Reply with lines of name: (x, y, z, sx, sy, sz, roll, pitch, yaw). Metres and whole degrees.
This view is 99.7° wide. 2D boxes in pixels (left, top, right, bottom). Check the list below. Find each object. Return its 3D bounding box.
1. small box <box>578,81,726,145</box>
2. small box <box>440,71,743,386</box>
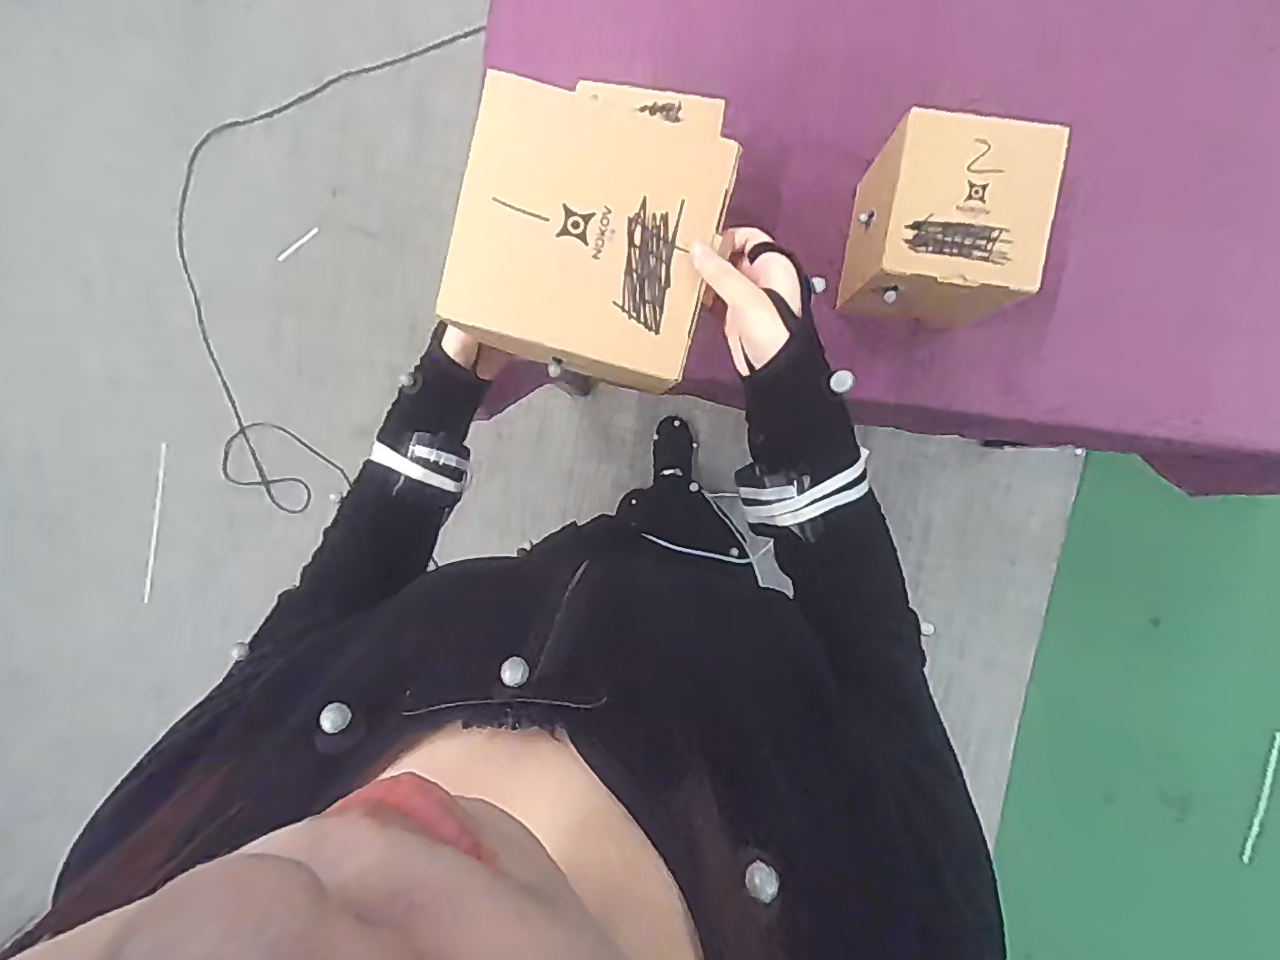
small box: (0.002, -0.339, 0.669, 0.168, 0.176, 0.179, 11, 94, 1)
small box: (-0.037, -0.179, 0.449, 0.179, 0.176, 0.168, 16, 95, -4)
